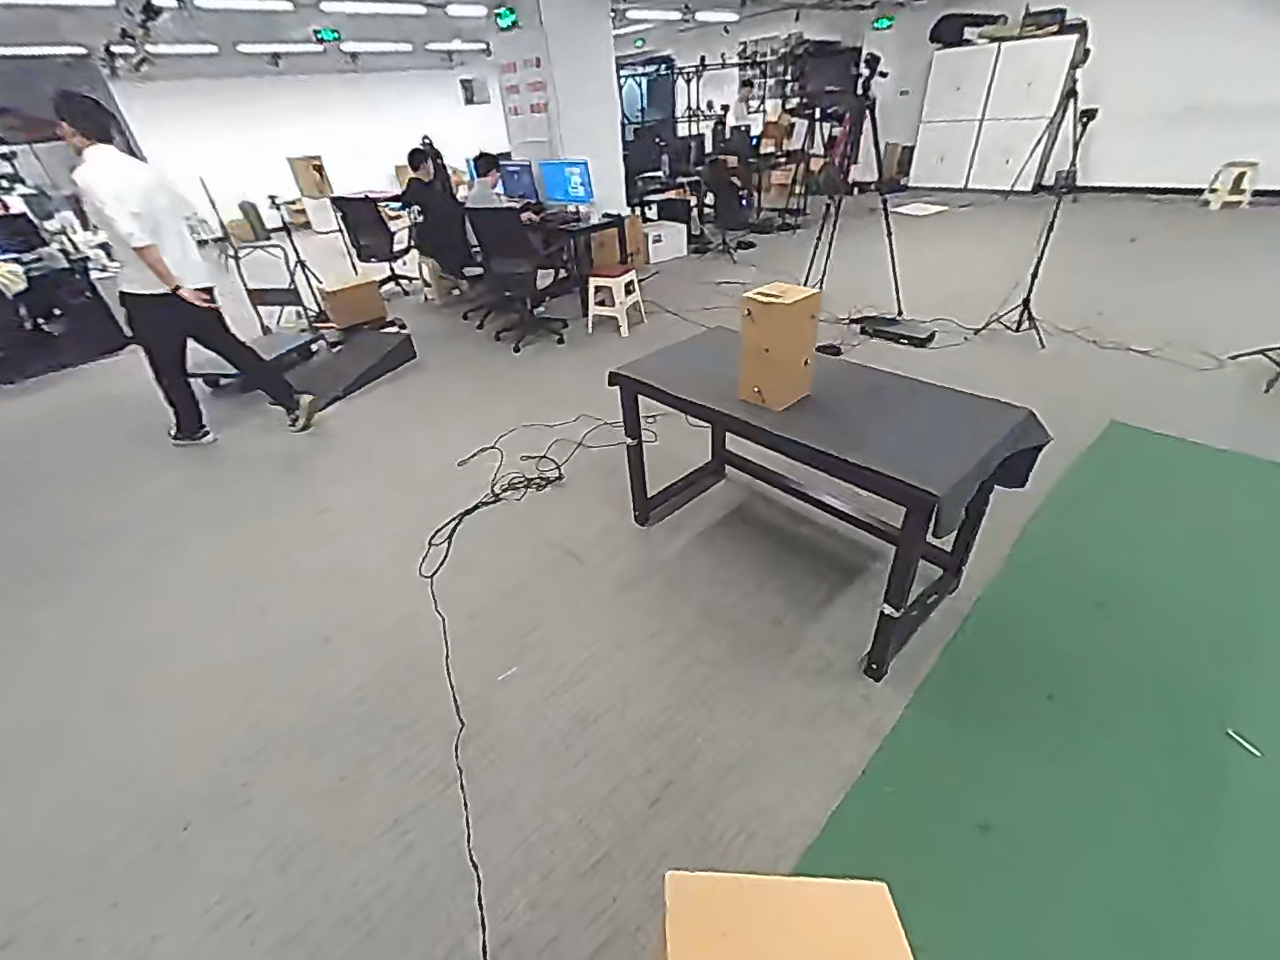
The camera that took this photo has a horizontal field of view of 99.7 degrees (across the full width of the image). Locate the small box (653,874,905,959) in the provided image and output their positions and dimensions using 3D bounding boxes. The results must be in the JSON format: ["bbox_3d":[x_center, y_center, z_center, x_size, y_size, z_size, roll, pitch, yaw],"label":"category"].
[{"bbox_3d":[0.089,0.405,0.354,0.168,0.176,0.179,3,23,-1],"label":"small box"}]

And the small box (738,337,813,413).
[{"bbox_3d":[0.426,-0.337,1.725,0.179,0.176,0.168,-30,41,-33],"label":"small box"}]
